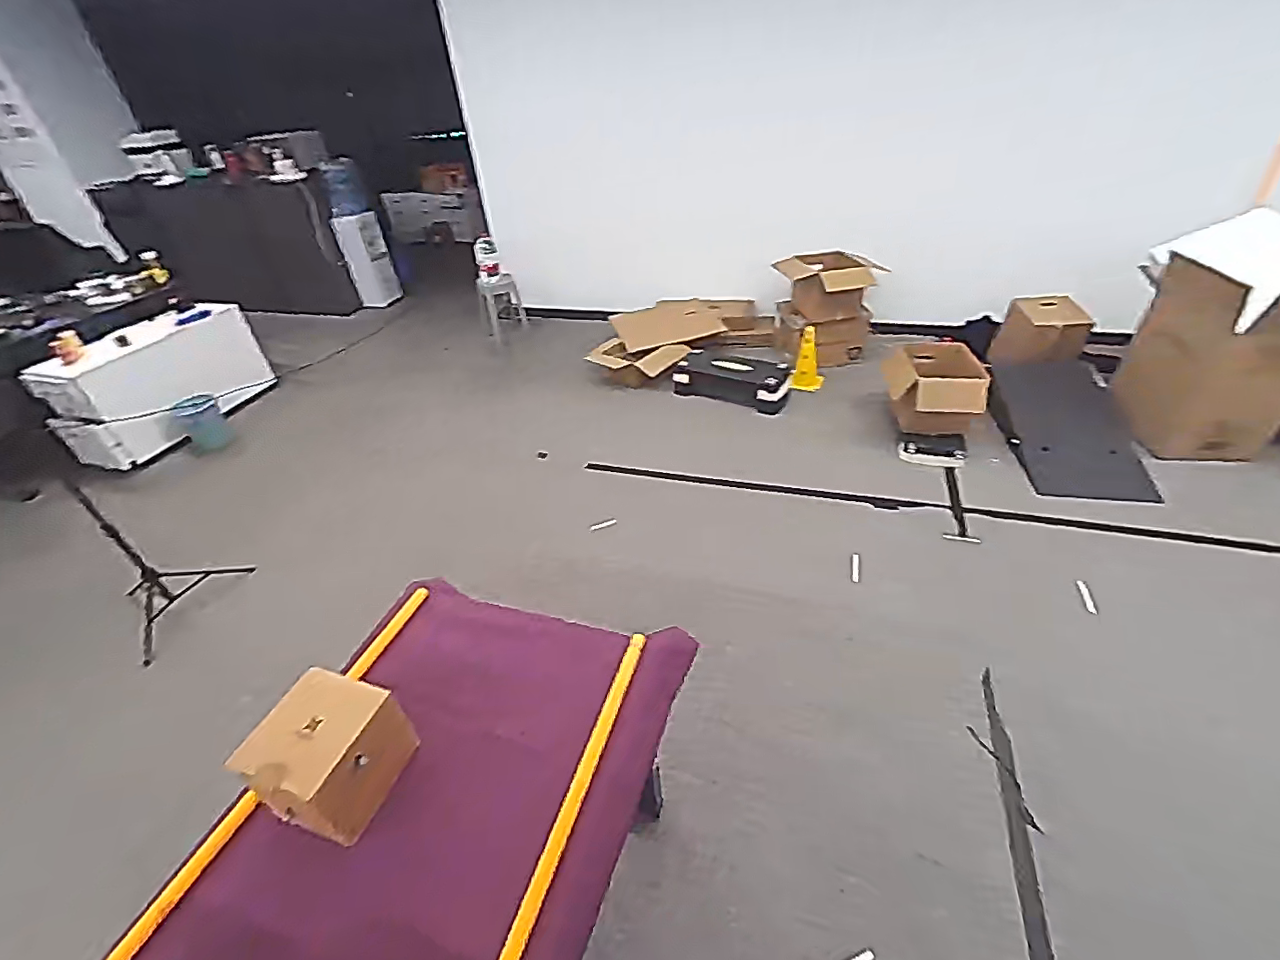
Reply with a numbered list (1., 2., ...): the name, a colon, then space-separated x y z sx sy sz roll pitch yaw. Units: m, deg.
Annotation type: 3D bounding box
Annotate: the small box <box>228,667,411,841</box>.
1. small box: -0.504 0.446 0.887 0.168 0.176 0.179 9 40 16
